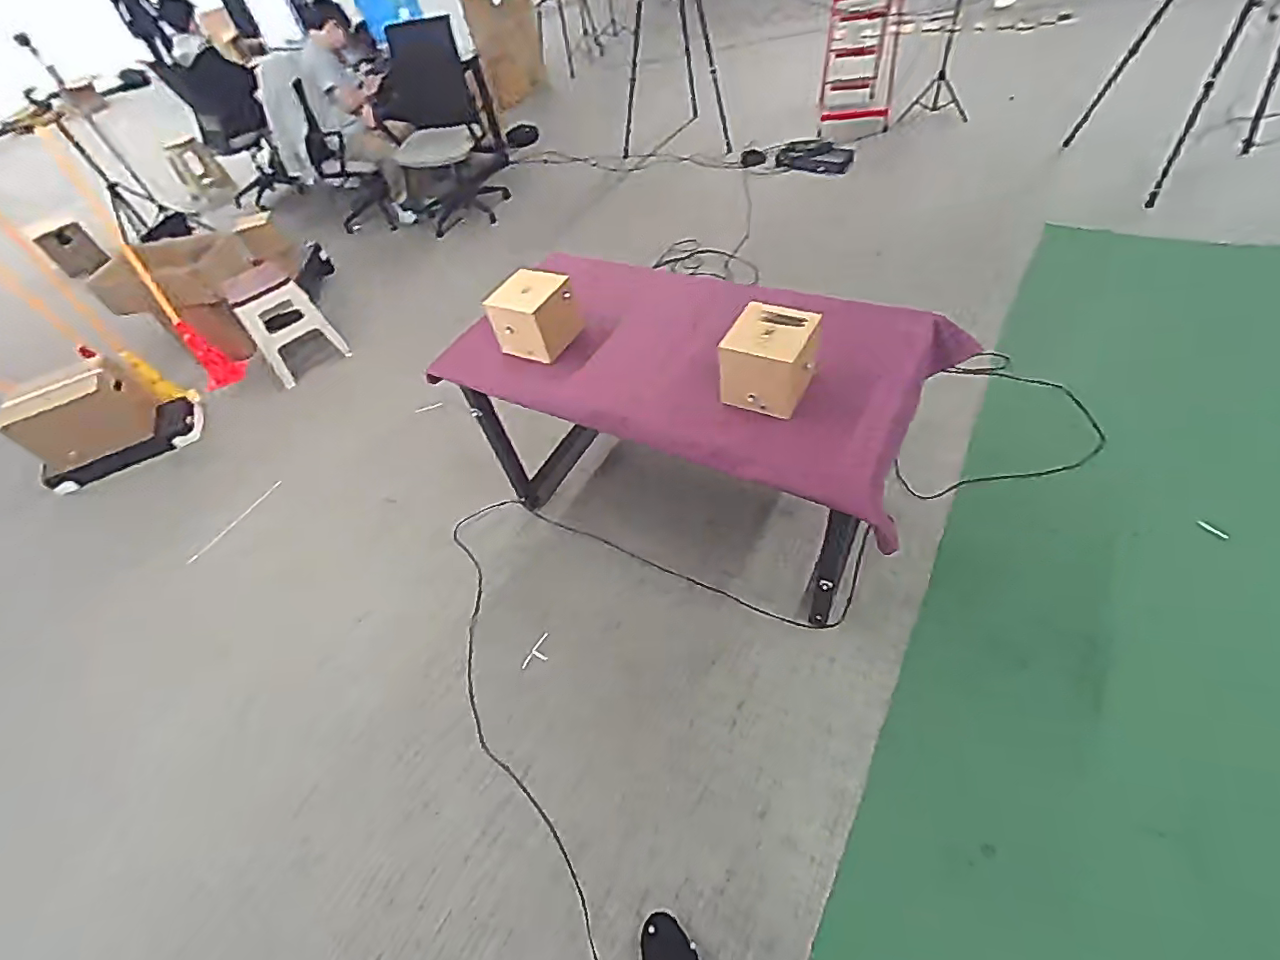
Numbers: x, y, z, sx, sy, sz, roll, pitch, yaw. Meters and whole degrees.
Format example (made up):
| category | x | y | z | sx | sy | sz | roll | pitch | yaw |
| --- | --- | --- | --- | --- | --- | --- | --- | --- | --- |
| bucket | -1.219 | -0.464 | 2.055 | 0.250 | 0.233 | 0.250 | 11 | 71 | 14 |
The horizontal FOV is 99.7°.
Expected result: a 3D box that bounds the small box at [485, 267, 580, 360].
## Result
| category | x | y | z | sx | sy | sz | roll | pitch | yaw |
| --- | --- | --- | --- | --- | --- | --- | --- | --- | --- |
| small box | -0.283 | -0.452 | 1.478 | 0.168 | 0.176 | 0.179 | 18 | 55 | 23 |
